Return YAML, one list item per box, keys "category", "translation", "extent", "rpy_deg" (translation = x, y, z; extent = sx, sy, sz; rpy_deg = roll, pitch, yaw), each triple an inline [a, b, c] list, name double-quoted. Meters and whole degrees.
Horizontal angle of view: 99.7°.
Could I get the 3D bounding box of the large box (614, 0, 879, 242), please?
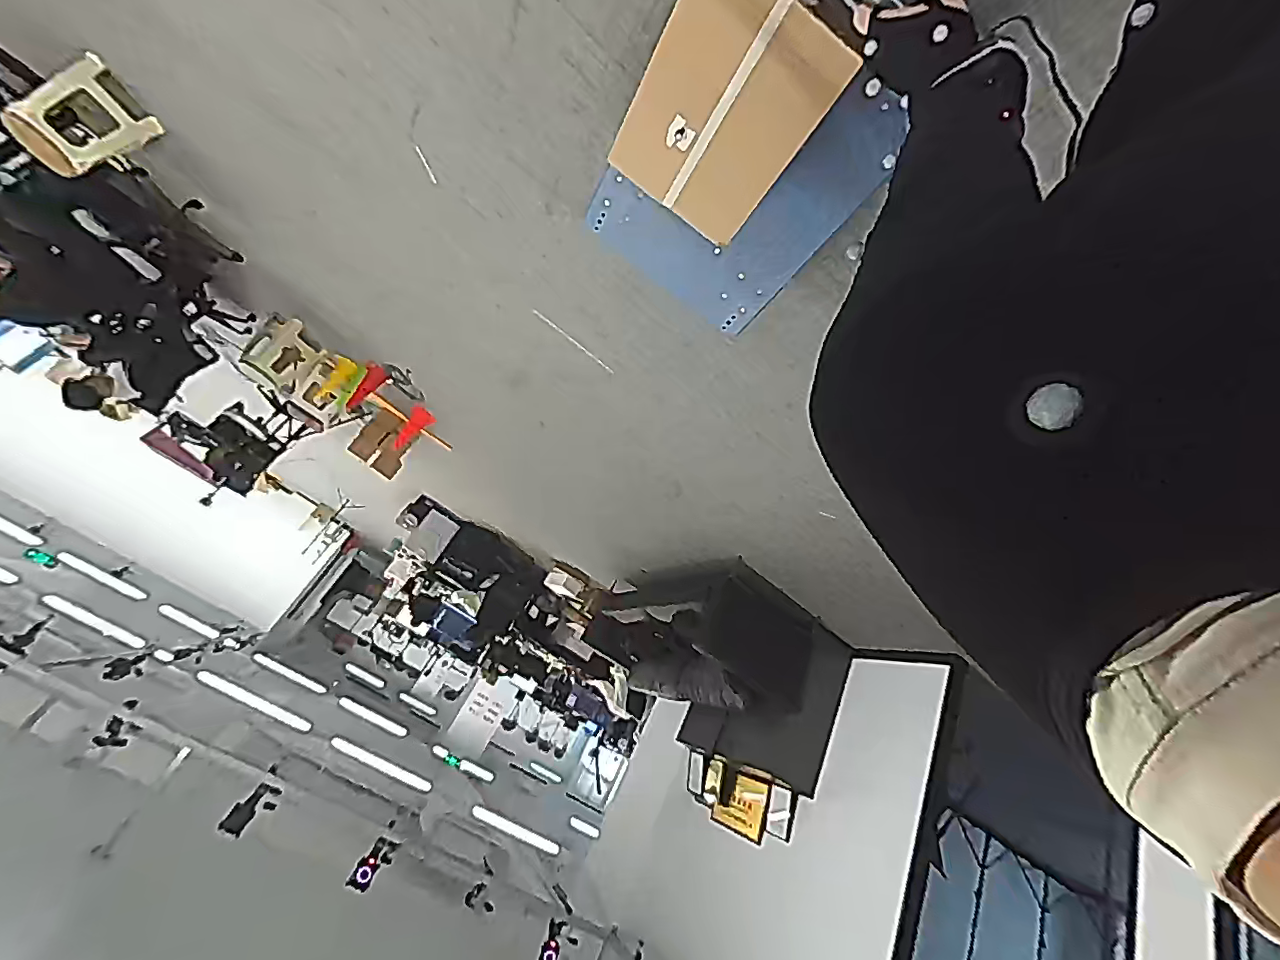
- category: "large box"
  translation: [0.204, -0.790, 1.080]
  extent: [0.320, 0.320, 0.408]
  rpy_deg: [33, 143, -9]
